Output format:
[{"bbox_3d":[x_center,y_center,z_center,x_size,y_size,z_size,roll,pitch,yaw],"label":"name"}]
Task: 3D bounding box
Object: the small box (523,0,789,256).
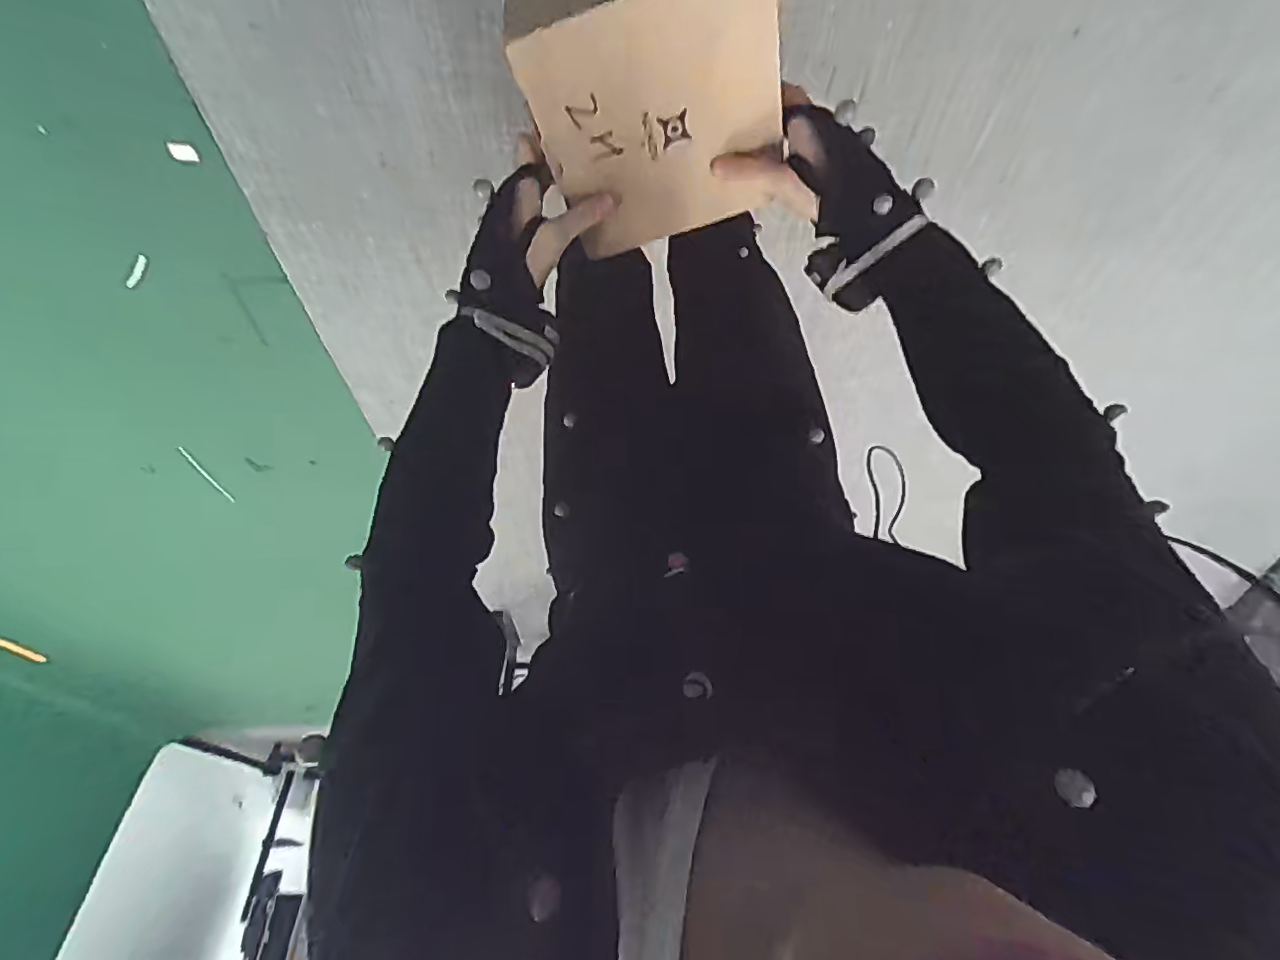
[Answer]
[{"bbox_3d":[0.012,-0.328,0.447,0.179,0.176,0.168,-14,146,9],"label":"small box"}]
